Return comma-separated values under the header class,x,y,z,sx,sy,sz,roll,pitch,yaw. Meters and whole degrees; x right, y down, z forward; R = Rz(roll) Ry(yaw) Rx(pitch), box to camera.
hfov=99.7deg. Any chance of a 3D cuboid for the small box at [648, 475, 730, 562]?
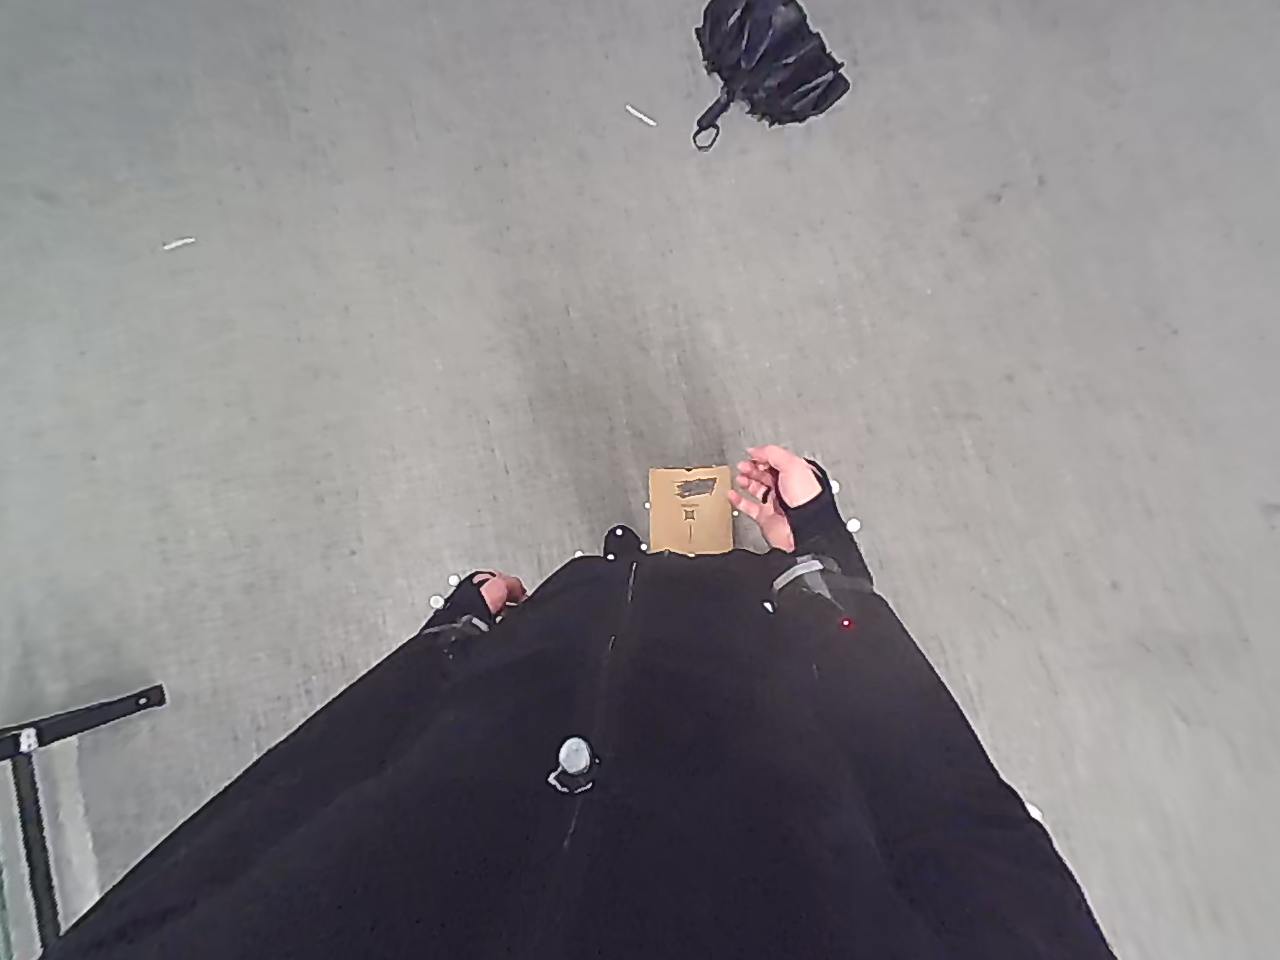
class,x,y,z,sx,sy,sz,roll,pitch,yaw
small box,0.107,0.083,1.168,0.168,0.176,0.179,-1,87,7
